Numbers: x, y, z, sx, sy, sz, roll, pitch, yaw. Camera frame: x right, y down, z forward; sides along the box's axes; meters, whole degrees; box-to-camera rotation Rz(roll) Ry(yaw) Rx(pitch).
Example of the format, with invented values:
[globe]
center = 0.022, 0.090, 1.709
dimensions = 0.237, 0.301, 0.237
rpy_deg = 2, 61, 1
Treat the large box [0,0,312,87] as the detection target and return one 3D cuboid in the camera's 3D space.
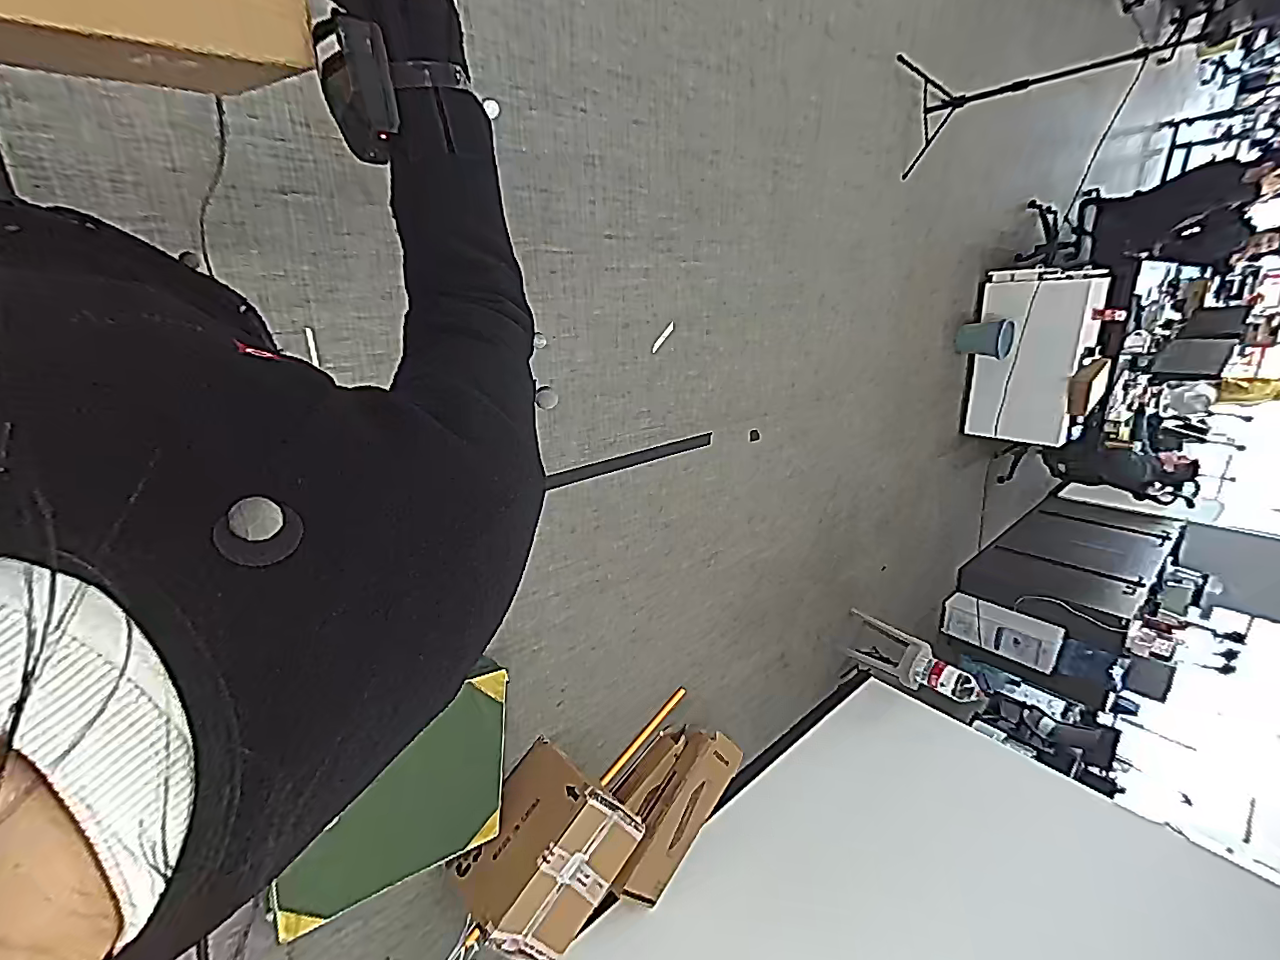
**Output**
[large box]
center = -0.441, -0.398, 0.243
dimensions = 0.408, 0.320, 0.320
rpy_deg = -20, 128, -36
